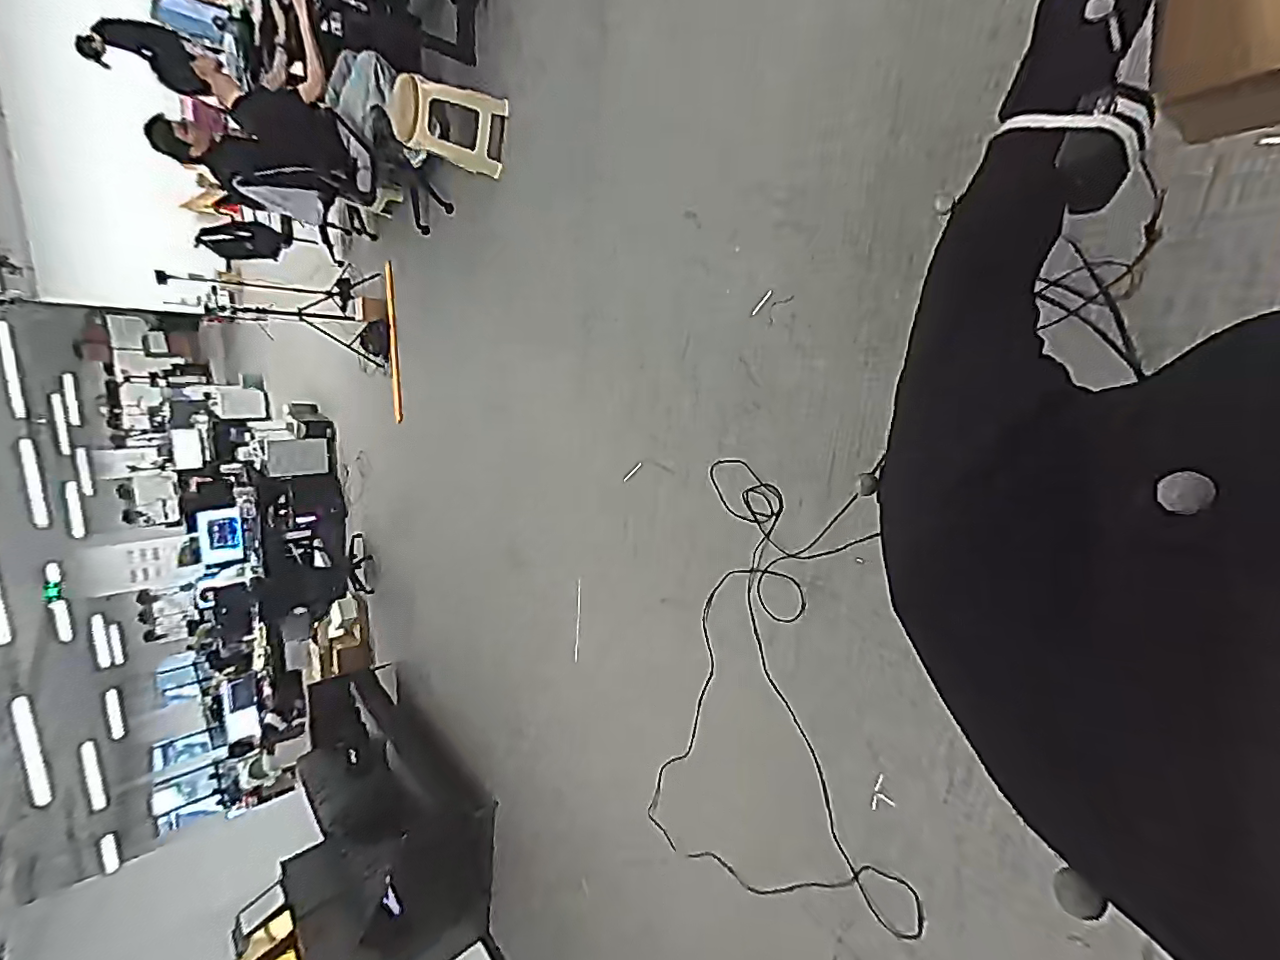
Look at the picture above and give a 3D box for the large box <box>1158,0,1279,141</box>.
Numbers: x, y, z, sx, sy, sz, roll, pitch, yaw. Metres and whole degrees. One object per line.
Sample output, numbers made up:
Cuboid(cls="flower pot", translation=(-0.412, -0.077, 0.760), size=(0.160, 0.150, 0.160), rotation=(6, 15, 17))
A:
Cuboid(cls="large box", translation=(0.618, -0.471, 0.337), size=(0.408, 0.320, 0.320), rotation=(7, 111, 46))
